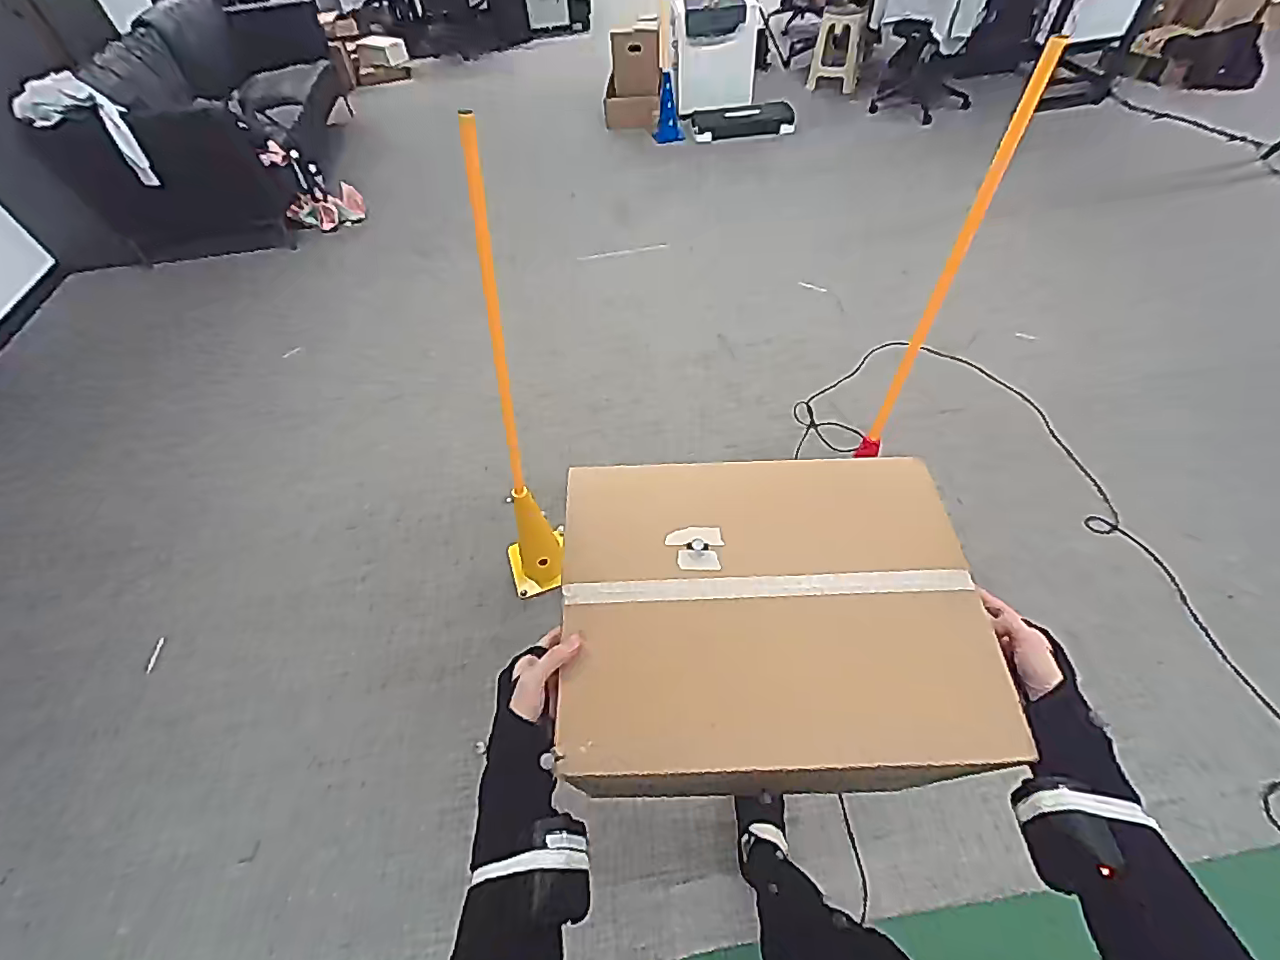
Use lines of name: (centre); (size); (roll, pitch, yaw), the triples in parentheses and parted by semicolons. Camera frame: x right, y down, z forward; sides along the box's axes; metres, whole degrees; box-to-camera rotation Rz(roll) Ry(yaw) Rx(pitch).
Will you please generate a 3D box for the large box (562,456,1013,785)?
large box: (0.131, 0.190, 0.676); (0.408, 0.320, 0.320); (-3, 56, 1)
